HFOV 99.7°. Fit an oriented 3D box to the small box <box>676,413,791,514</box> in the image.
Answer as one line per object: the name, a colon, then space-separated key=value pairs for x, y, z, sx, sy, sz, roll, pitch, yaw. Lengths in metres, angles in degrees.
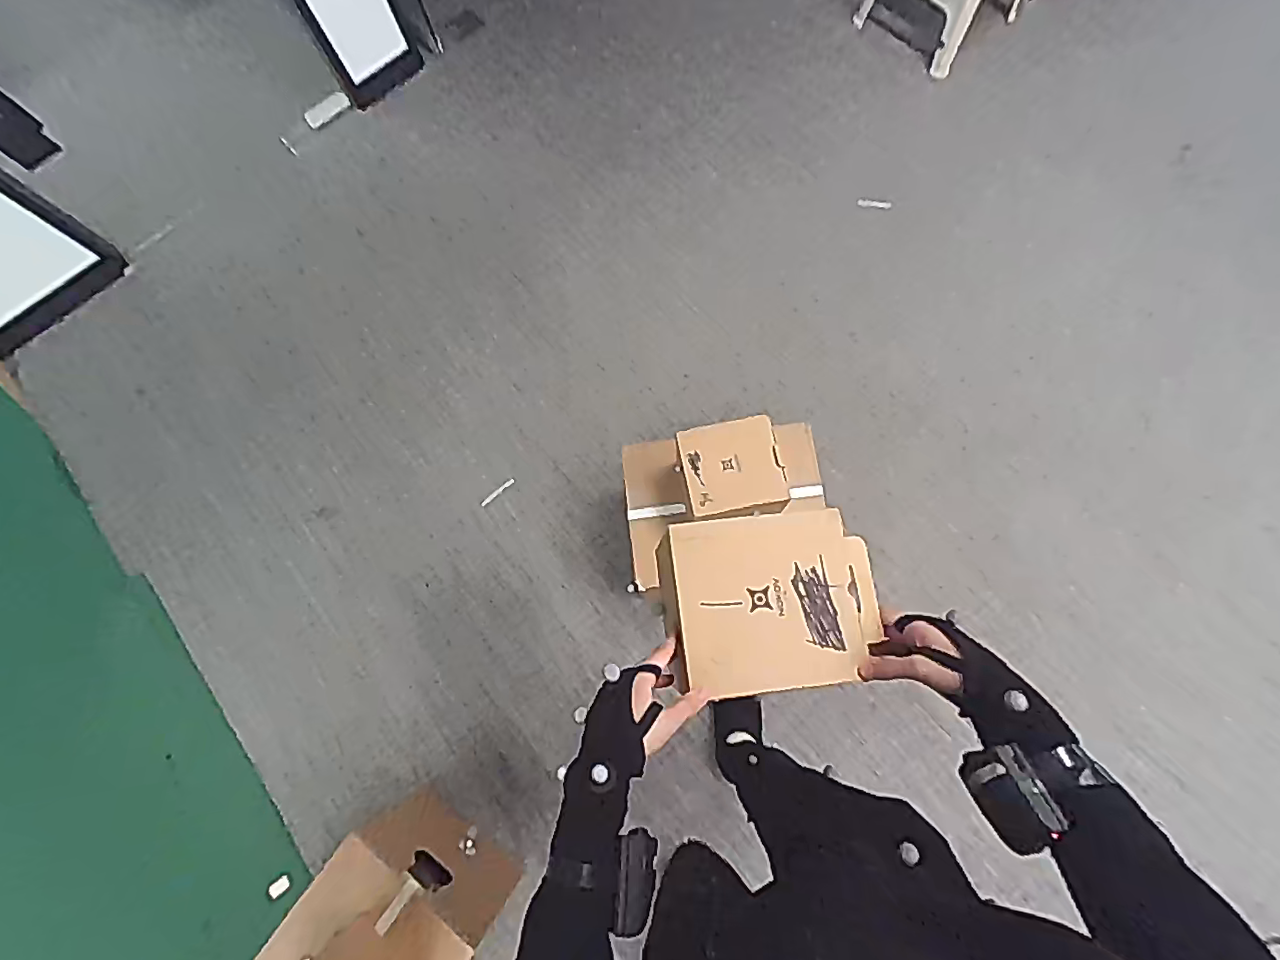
small box: x=0.169 y=-0.009 z=1.035 sx=0.179 sy=0.176 sz=0.168 roll=-10 pitch=72 yaw=0

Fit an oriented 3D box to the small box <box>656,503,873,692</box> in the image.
small box: x=0.118 y=0.128 z=0.589 sx=0.179 sy=0.176 sz=0.168 roll=-5 pitch=74 yaw=-4

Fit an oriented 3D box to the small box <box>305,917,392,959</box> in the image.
small box: x=-0.488 y=0.845 z=0.840 sx=0.179 sy=0.176 sz=0.168 roll=40 pitch=80 yaw=13

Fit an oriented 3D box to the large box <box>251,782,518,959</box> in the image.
large box: x=-0.514 y=0.913 z=1.077 sx=0.320 sy=0.320 sz=0.408 roll=34 pitch=80 yaw=13
